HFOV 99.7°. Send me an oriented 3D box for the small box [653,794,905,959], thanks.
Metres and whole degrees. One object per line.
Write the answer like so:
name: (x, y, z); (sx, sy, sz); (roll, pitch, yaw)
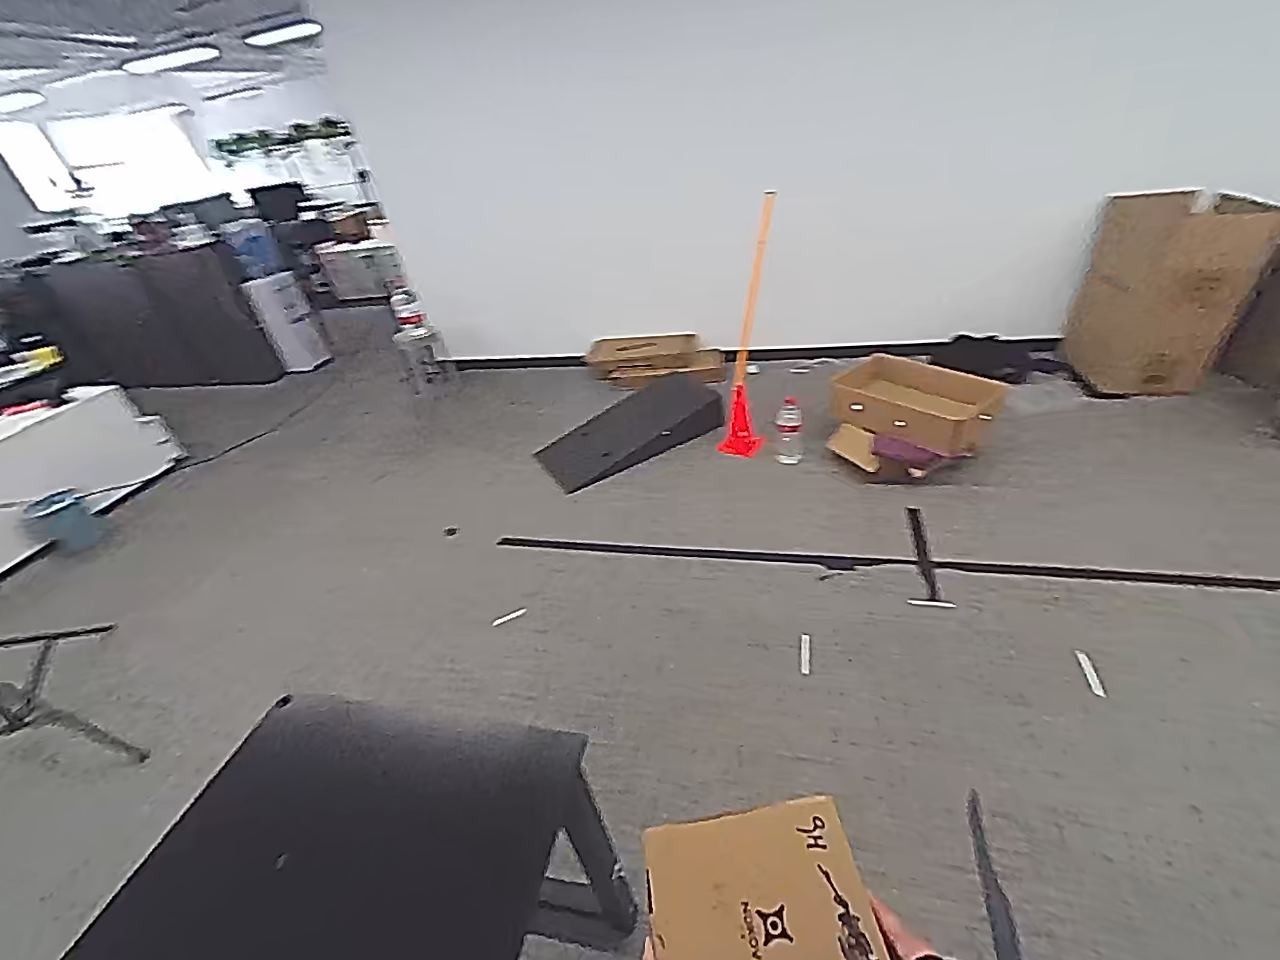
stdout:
small box: (0.116, 0.405, 0.469); (0.179, 0.176, 0.168); (-10, 41, 0)
